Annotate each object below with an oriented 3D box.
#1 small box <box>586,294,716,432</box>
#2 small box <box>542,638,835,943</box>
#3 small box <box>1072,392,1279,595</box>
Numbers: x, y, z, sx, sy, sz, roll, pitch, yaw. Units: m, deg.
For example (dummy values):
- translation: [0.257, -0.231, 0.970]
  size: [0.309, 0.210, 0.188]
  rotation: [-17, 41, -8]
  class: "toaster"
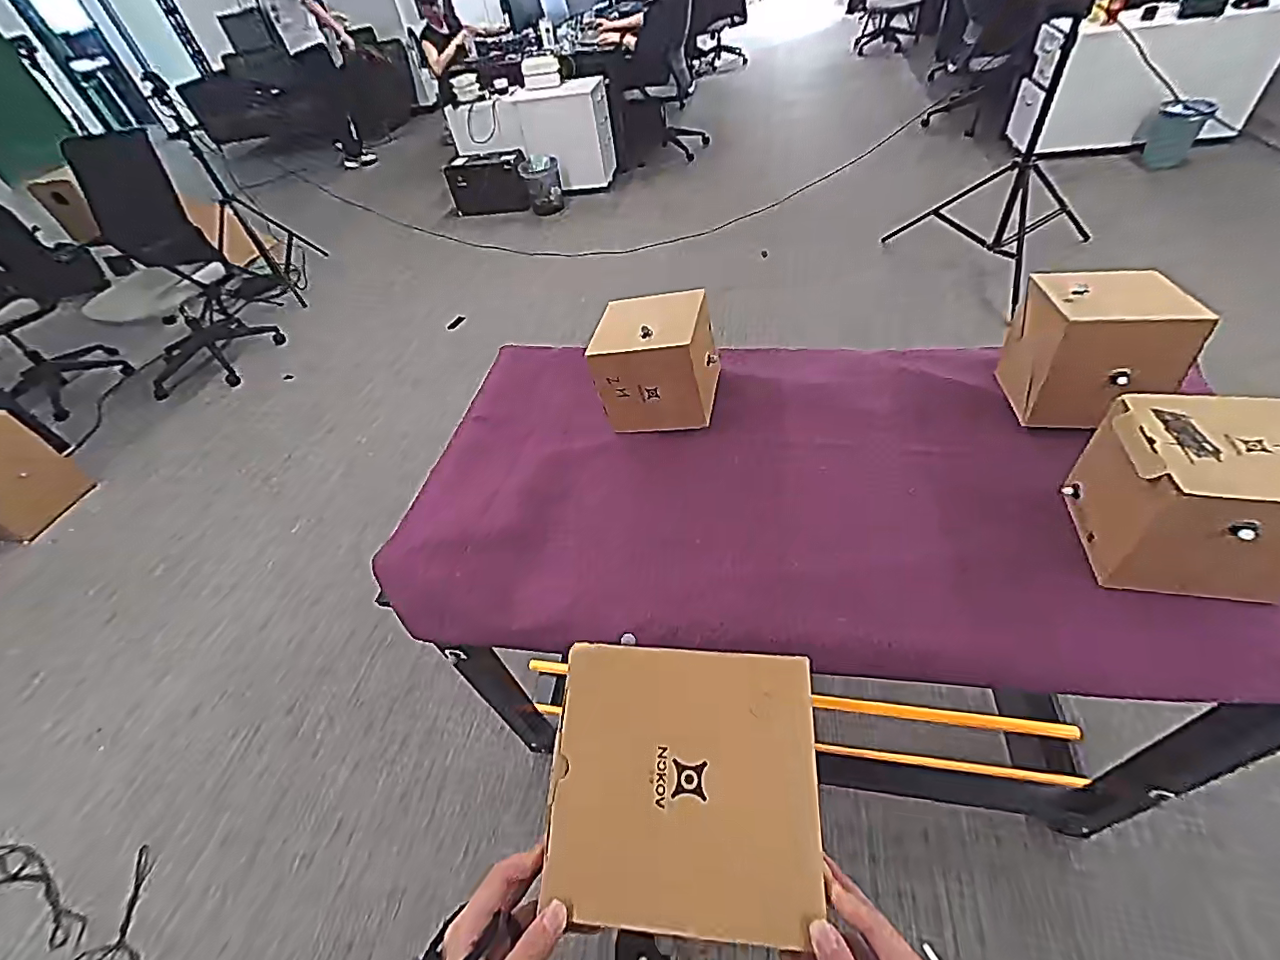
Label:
- translation: [0.031, -0.201, 0.929]
  size: [0.179, 0.168, 0.176]
  rotation: [-1, 46, 20]
  class: "small box"
- translation: [0.039, 0.227, 0.424]
  size: [0.179, 0.176, 0.168]
  rotation: [0, 62, 7]
  class: "small box"
- translation: [0.645, 0.016, 0.627]
  size: [0.179, 0.176, 0.168]
  rotation: [4, 47, 14]
  class: "small box"
